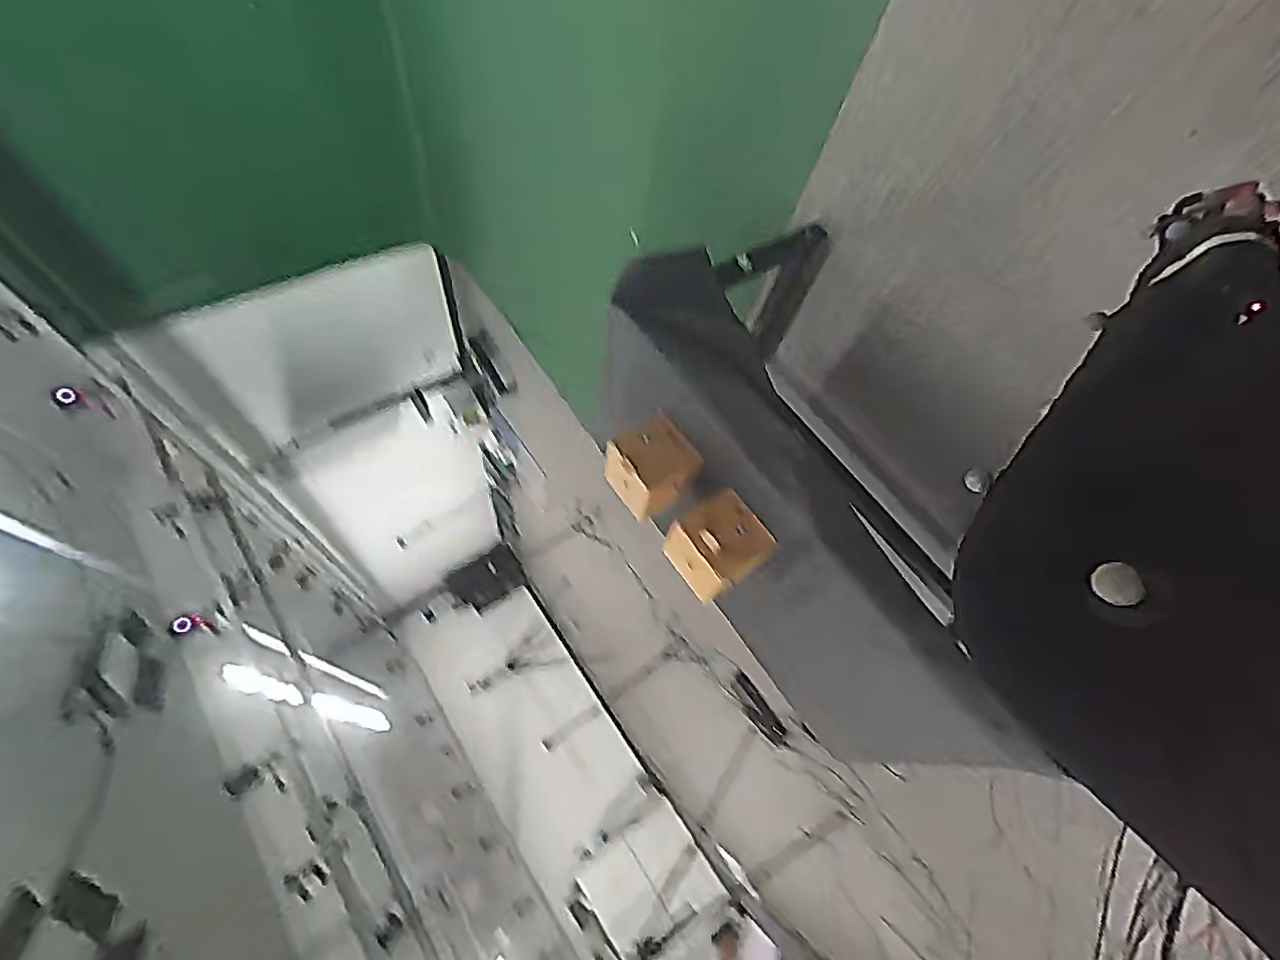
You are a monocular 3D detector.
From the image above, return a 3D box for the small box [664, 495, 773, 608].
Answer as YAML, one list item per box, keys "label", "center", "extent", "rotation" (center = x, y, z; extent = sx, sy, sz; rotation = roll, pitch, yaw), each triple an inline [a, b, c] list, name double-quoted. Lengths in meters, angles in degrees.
- label: "small box"
  center: [0.182, 0.166, 1.260]
  extent: [0.168, 0.176, 0.179]
  rotation: [52, 156, 19]

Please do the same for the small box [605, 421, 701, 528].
- label: "small box"
  center: [0.031, -0.016, 1.348]
  extent: [0.168, 0.176, 0.179]
  rotation: [51, 157, 21]
